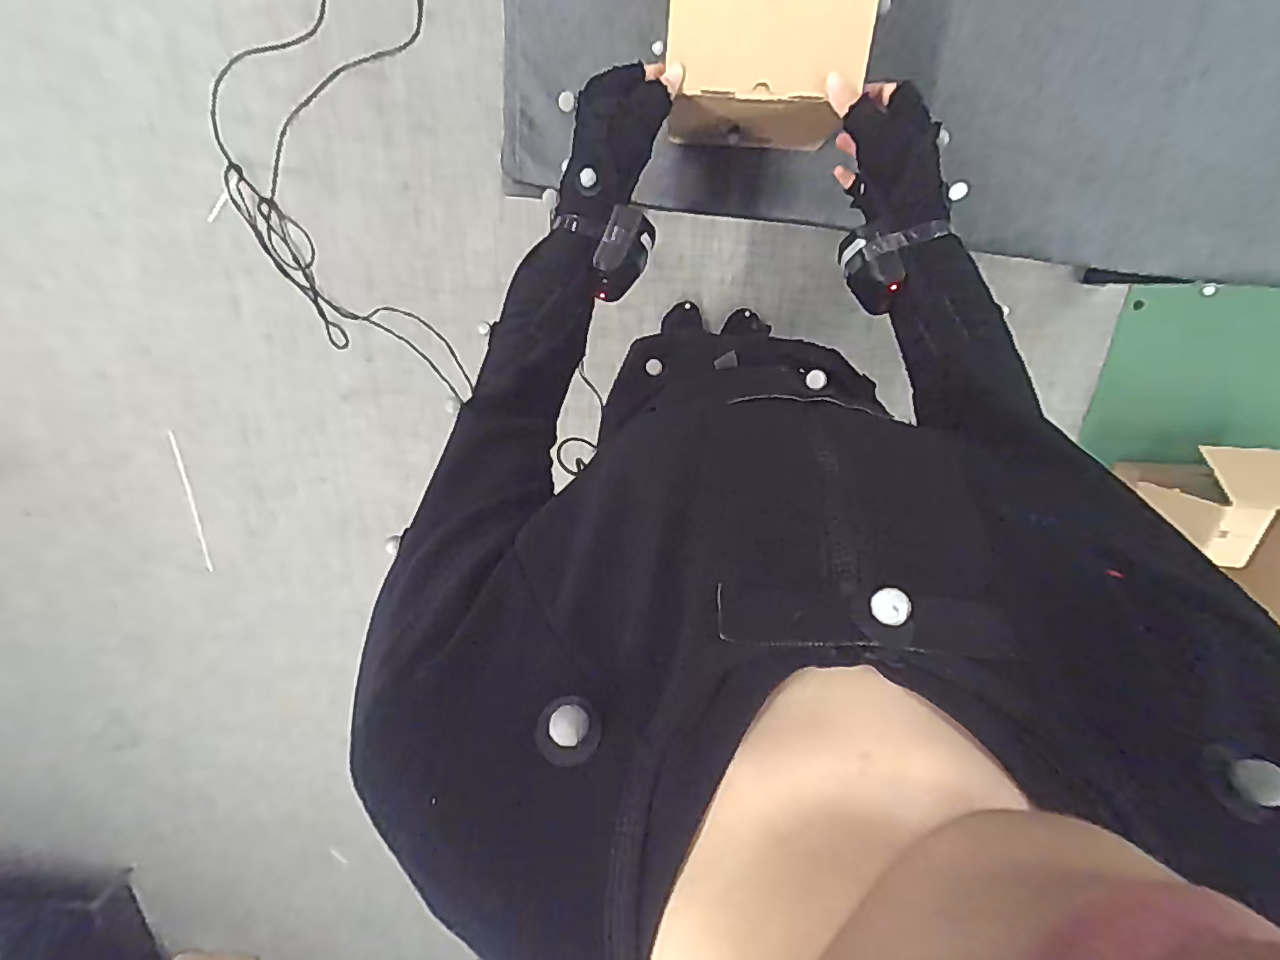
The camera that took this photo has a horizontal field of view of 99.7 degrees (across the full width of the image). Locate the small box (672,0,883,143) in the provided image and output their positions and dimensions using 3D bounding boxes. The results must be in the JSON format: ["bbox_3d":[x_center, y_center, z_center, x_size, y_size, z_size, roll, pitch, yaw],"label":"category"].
[{"bbox_3d":[0.119,-0.434,0.497,0.168,0.176,0.179,5,111,4],"label":"small box"}]
